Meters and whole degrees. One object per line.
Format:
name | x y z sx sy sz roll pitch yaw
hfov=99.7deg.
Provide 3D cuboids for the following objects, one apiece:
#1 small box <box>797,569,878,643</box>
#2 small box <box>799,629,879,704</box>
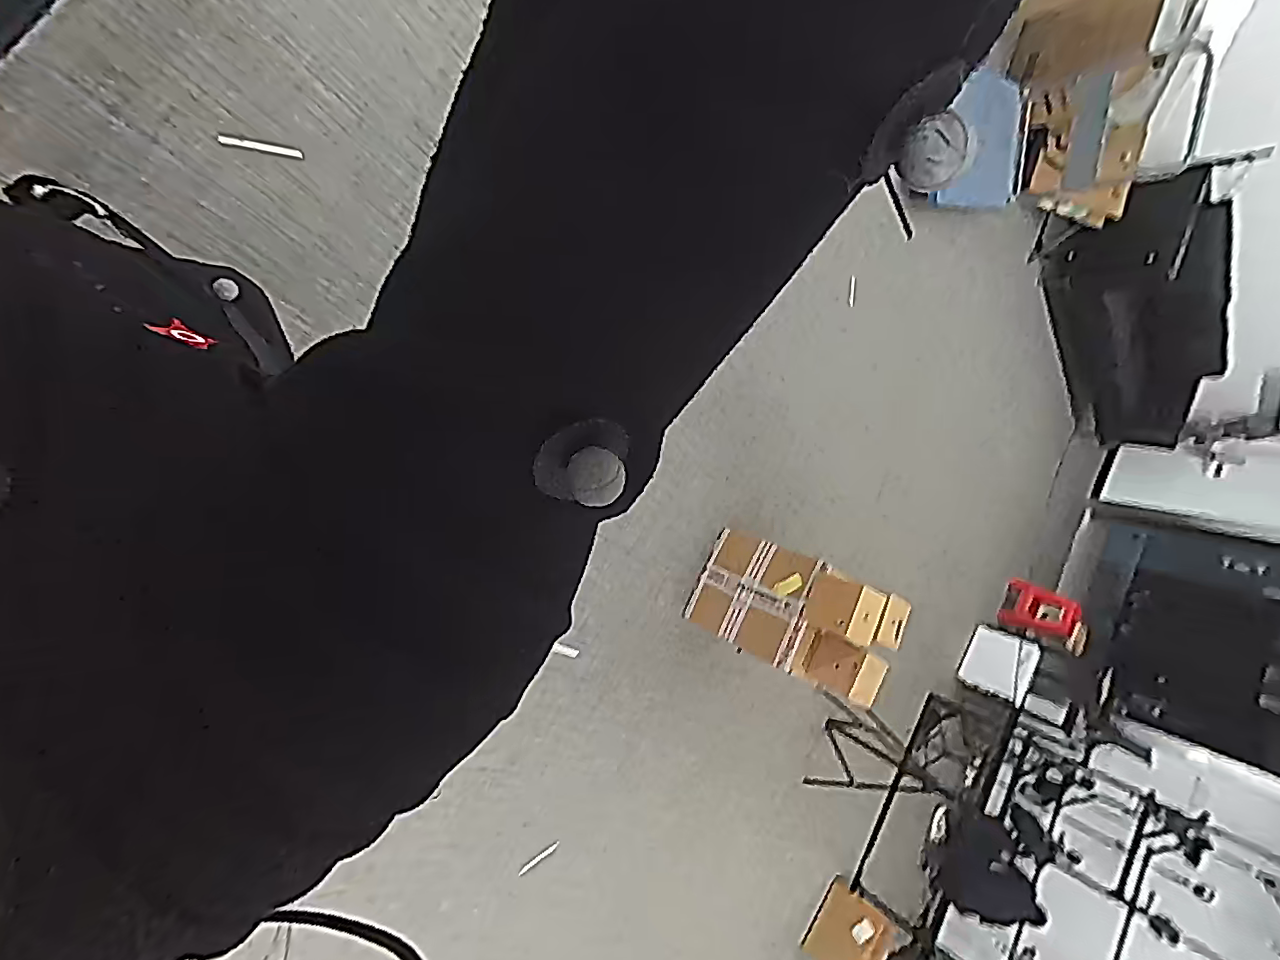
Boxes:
small box | 0.642 0.408 1.768 0.168 0.176 0.179 27 83 -38
small box | 0.682 0.636 1.843 0.179 0.176 0.168 34 81 -38
